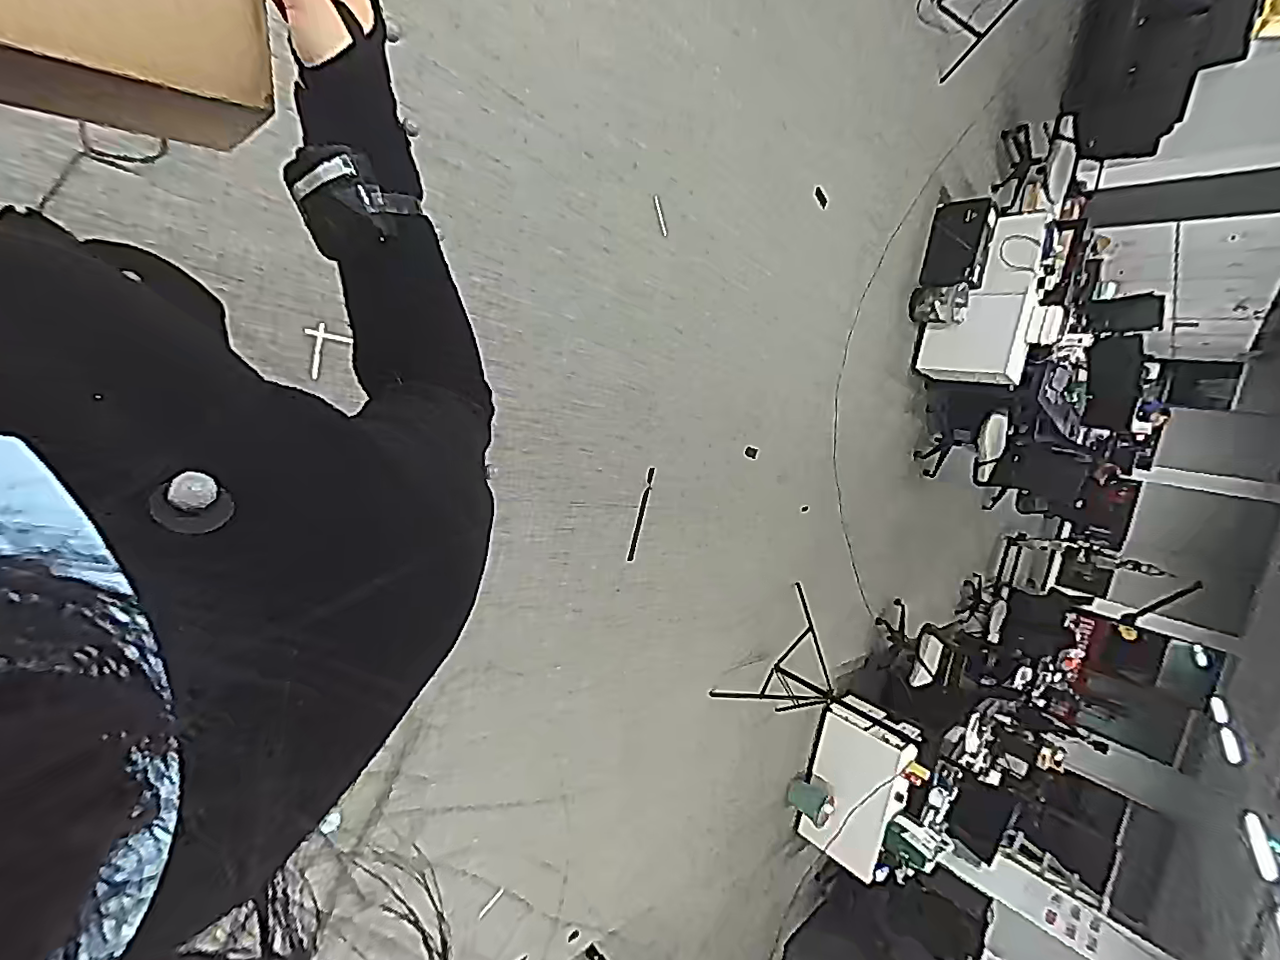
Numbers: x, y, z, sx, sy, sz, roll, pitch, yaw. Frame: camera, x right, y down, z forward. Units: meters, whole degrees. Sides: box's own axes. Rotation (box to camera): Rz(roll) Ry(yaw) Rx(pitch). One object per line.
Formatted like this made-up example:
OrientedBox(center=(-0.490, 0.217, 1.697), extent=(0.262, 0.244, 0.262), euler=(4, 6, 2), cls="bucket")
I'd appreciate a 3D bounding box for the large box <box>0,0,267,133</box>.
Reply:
OrientedBox(center=(-0.494, -0.441, 0.320), extent=(0.408, 0.320, 0.320), euler=(-9, 115, -39), cls="large box")
